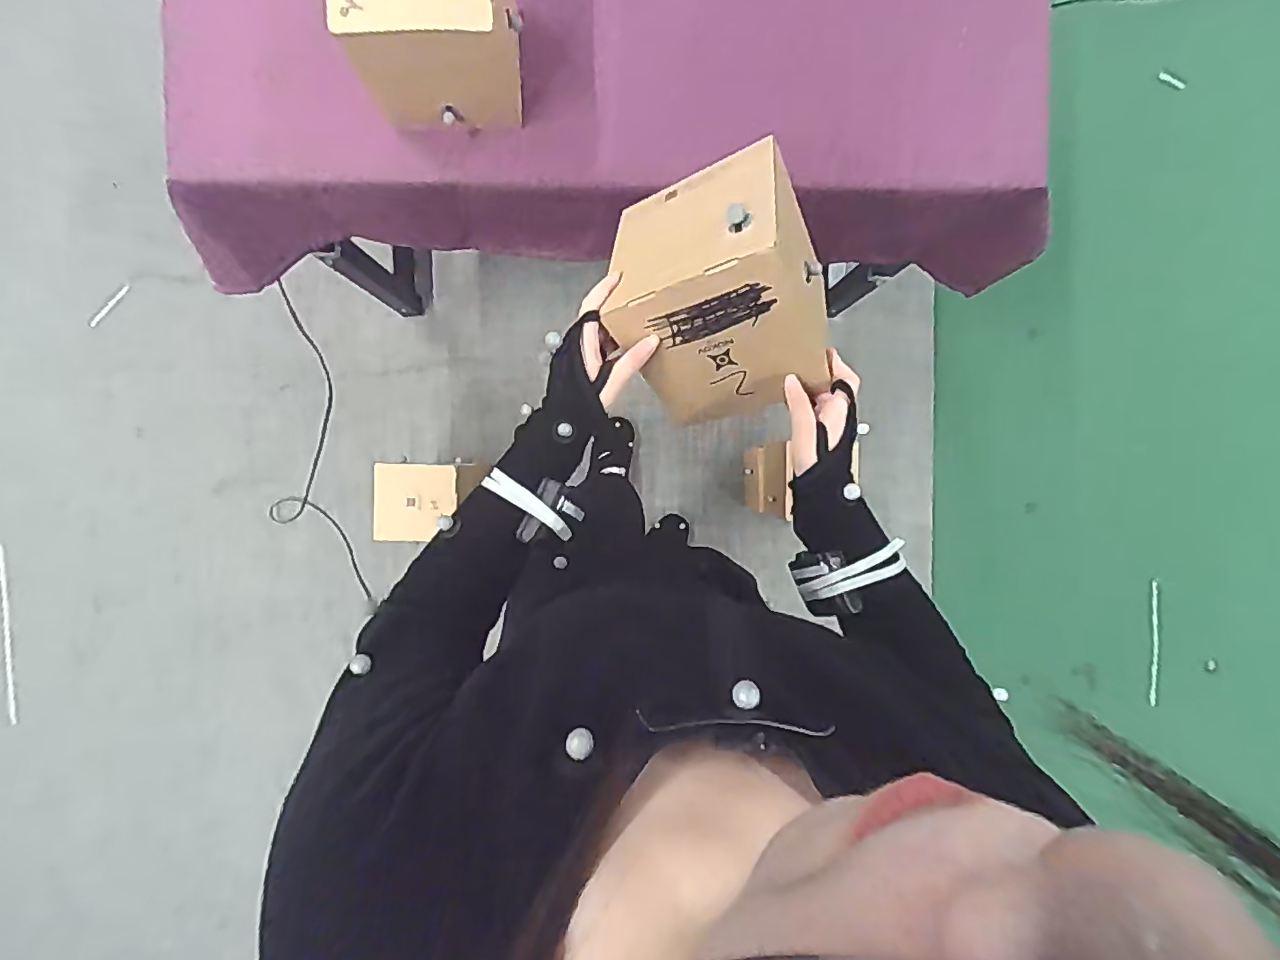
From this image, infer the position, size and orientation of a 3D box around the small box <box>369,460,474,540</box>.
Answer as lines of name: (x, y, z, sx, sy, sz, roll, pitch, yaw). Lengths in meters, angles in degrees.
small box: (-0.486, 0.042, 1.220, 0.179, 0.176, 0.168, 1, 92, -3)

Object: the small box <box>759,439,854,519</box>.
small box: (0.383, -0.006, 1.263, 0.168, 0.176, 0.179, 0, 92, -5)

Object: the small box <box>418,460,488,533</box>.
small box: (-0.490, 0.039, 1.385, 0.168, 0.176, 0.179, 0, 91, -3)

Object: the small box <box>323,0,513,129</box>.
small box: (-0.251, -0.551, 0.646, 0.179, 0.176, 0.168, -3, 92, -3)

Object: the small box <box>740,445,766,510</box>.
small box: (0.366, -0.011, 1.426, 0.179, 0.176, 0.168, -3, 92, -3)
